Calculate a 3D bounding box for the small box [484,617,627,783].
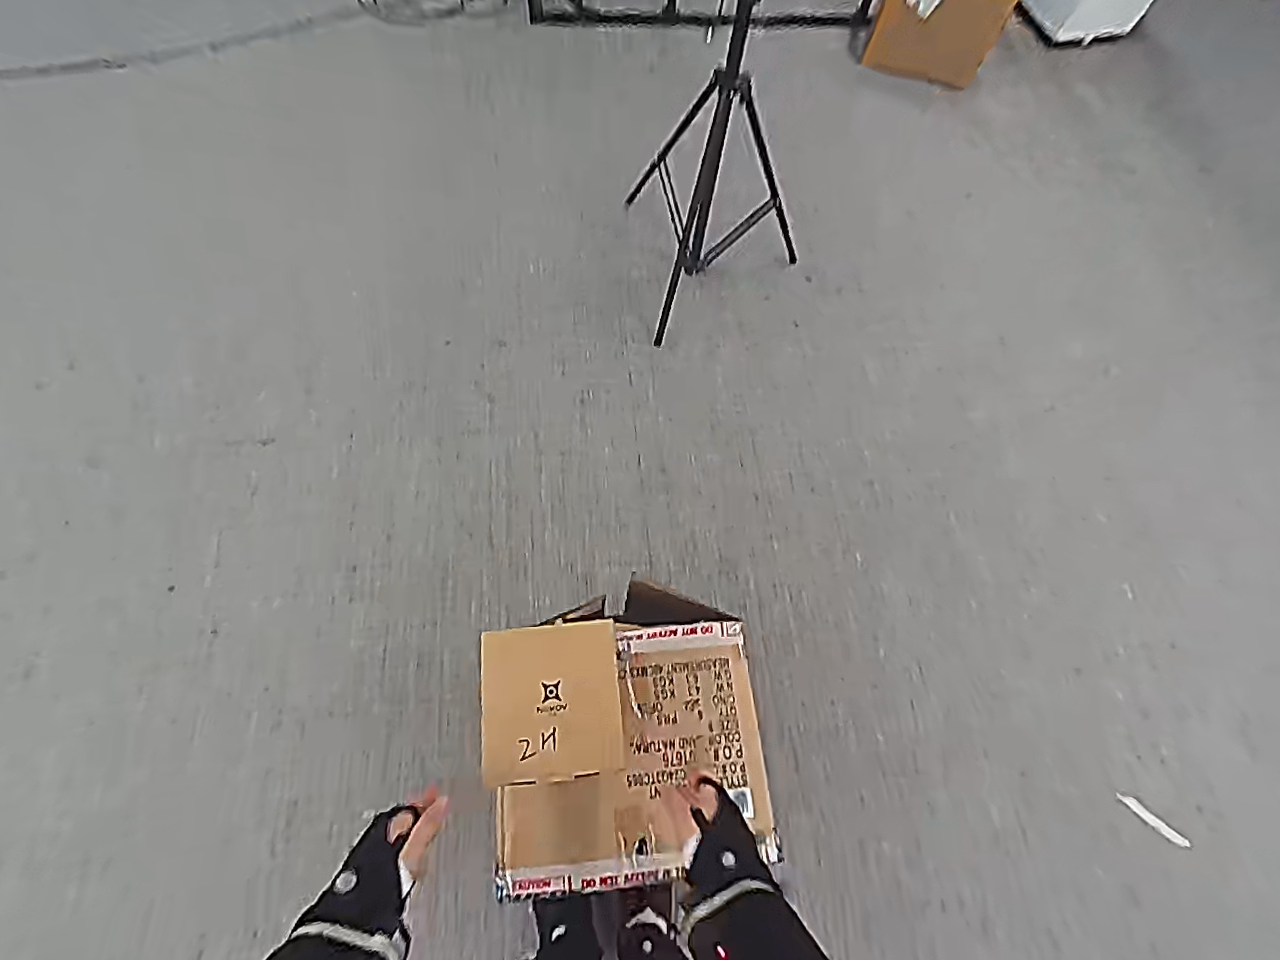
[{"bbox_3d":[-0.109,0.288,0.727,0.168,0.176,0.179,-5,71,-4],"label":"small box"}]
